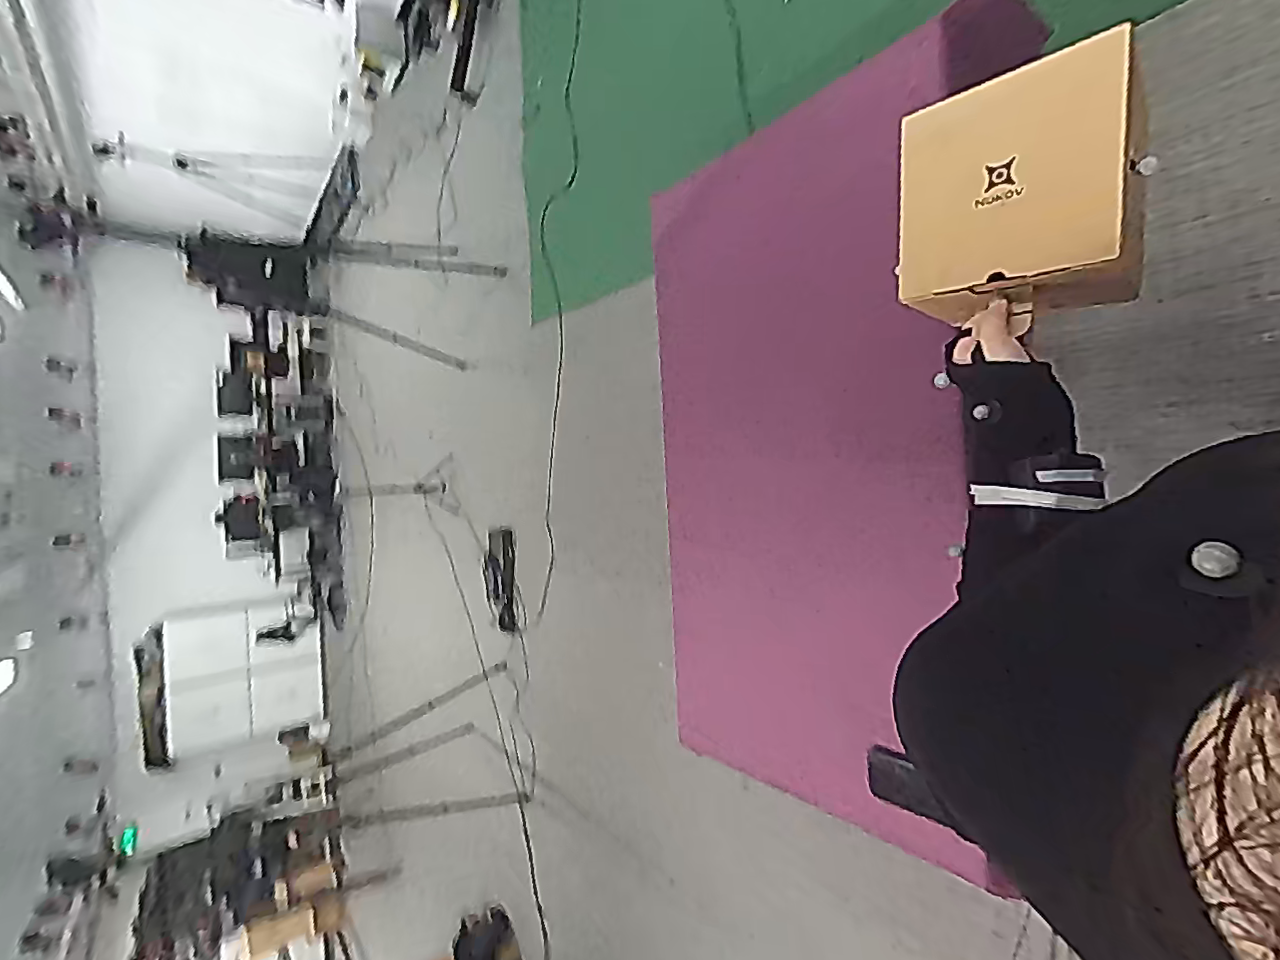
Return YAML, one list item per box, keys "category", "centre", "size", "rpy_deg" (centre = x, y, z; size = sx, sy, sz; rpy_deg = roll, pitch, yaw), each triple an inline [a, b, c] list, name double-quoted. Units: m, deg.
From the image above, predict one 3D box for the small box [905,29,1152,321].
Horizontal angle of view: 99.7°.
- category: "small box"
  centre: [0.375, -0.263, 0.522]
  size: [0.168, 0.176, 0.179]
  rpy_deg: [5, 98, 45]
